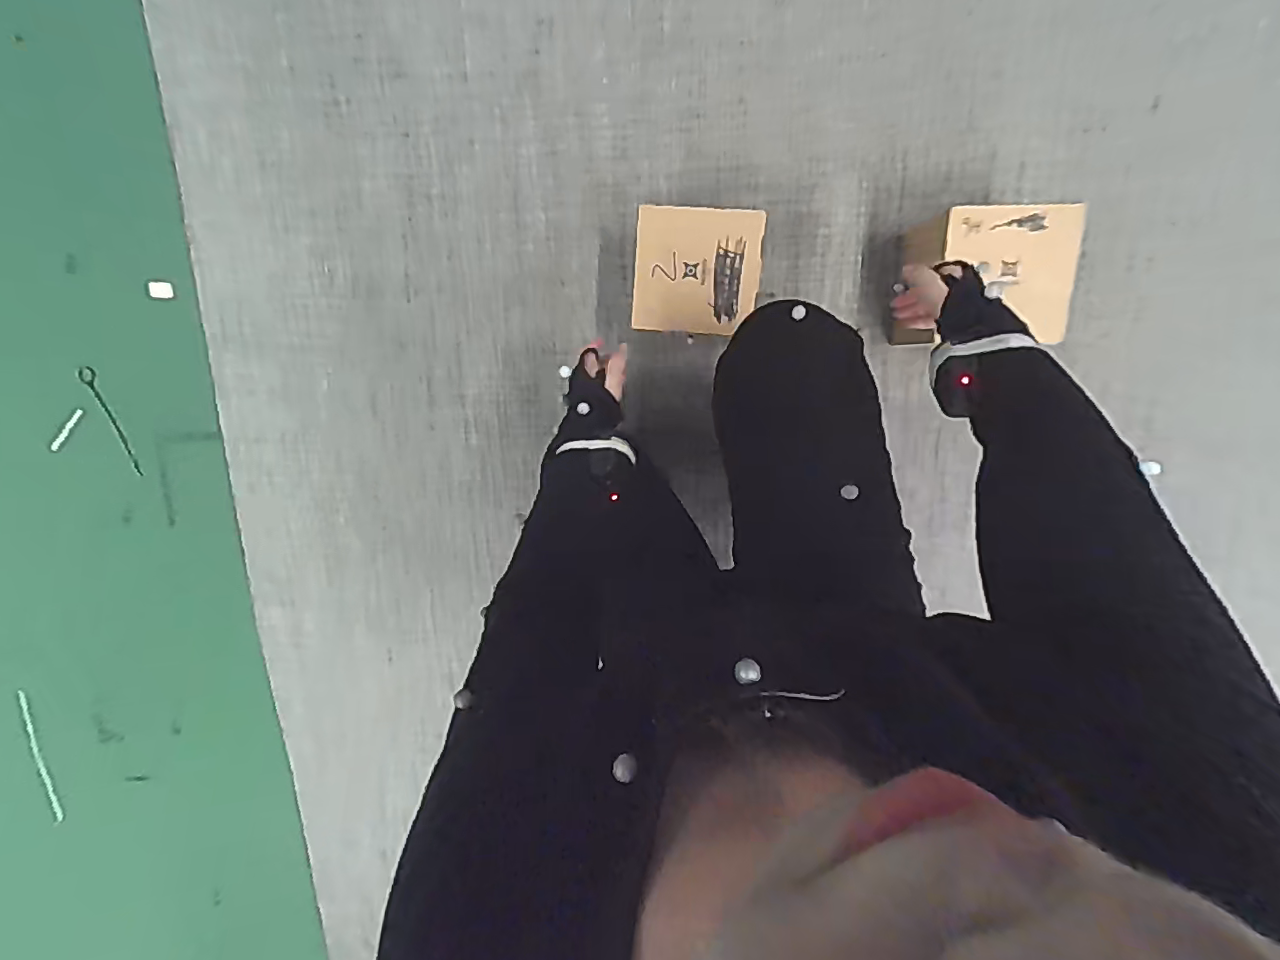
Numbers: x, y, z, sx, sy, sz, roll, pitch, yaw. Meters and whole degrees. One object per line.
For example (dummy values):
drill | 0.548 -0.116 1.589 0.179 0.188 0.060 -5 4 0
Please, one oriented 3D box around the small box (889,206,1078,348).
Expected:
small box | 0.480 -0.285 0.788 0.168 0.176 0.179 2 103 5
